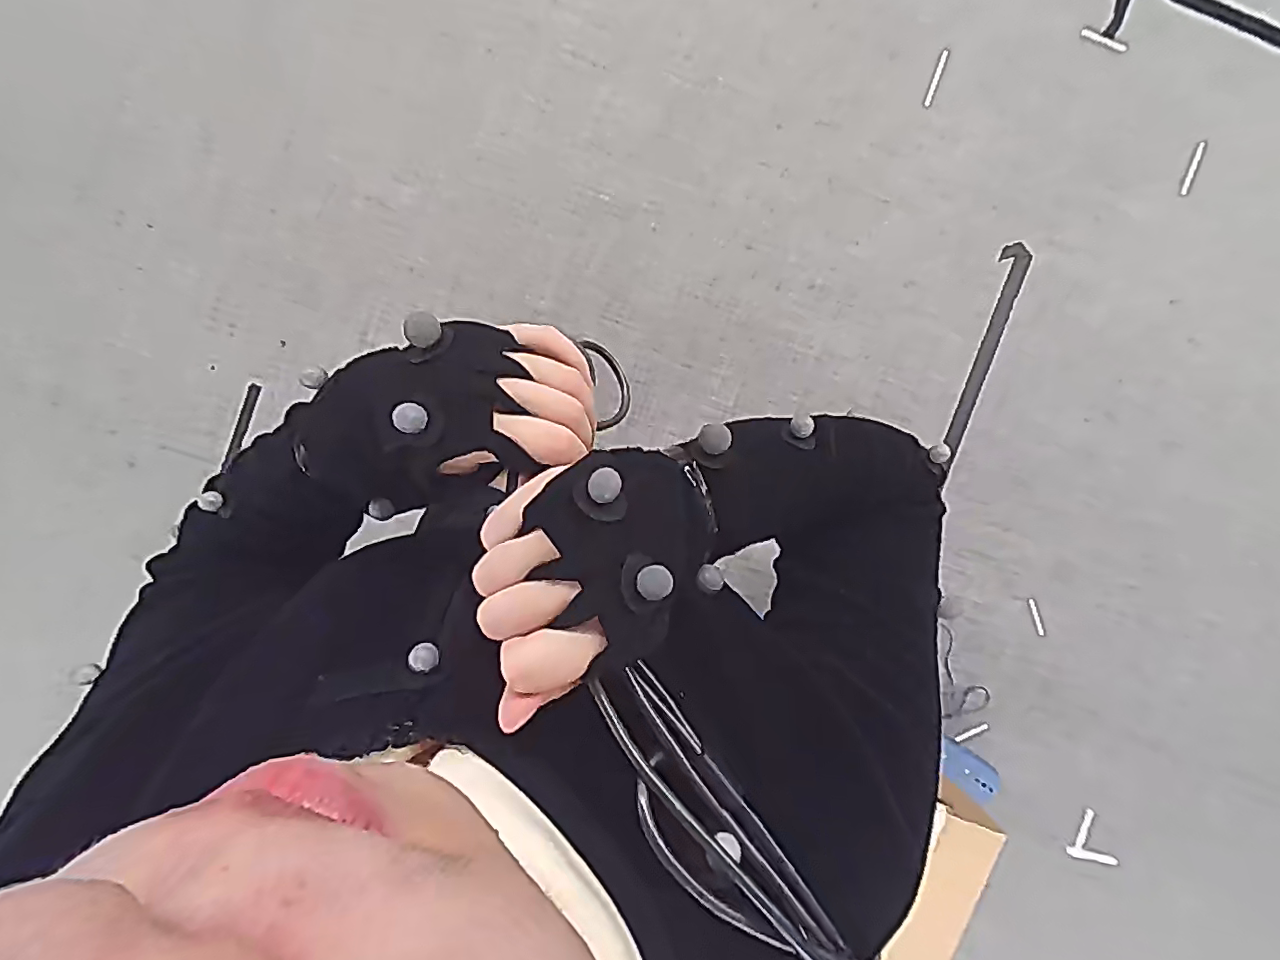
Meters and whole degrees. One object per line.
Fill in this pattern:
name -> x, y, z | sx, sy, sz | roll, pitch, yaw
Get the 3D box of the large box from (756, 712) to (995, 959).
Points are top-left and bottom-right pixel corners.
large box -> 0.522, 0.838, 1.270 | 0.320, 0.320, 0.408 | 22, 93, -4
